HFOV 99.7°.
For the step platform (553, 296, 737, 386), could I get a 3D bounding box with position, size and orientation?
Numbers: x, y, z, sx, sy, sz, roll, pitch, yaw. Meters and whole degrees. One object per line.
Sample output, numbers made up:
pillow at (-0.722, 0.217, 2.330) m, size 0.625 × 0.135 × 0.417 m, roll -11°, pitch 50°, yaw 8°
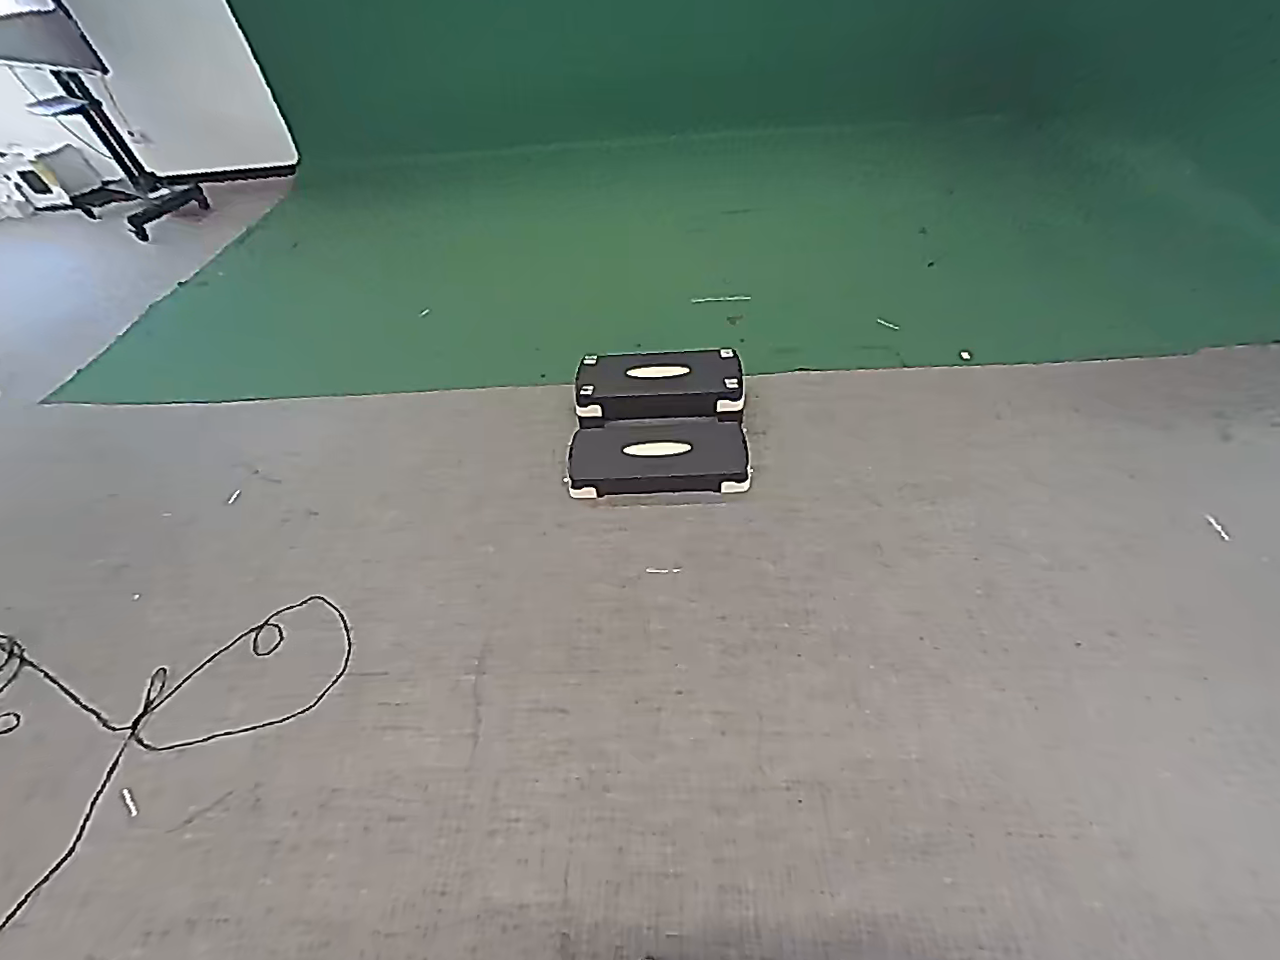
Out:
step platform at (0.023, -0.532, 2.080) m, size 0.684 × 0.204 × 0.286 m, roll -3°, pitch 49°, yaw 4°
